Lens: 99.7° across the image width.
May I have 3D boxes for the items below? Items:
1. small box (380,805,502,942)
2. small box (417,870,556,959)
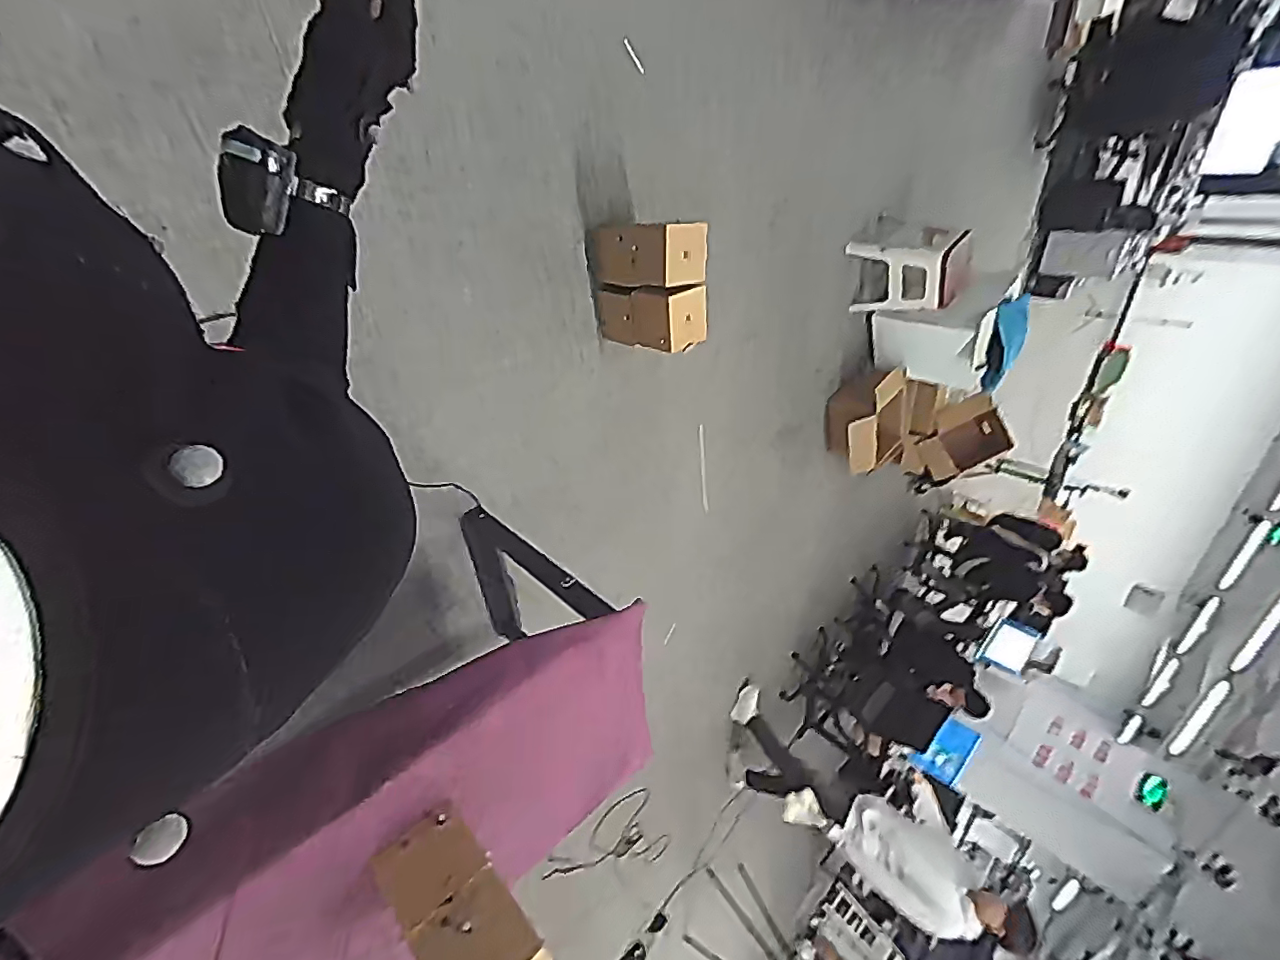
[{"bbox_3d":[-0.367,0.767,1.032,0.168,0.176,0.179,-28,128,-34],"label":"small box"},{"bbox_3d":[-0.254,0.827,0.928,0.168,0.176,0.179,-29,128,-34],"label":"small box"}]
